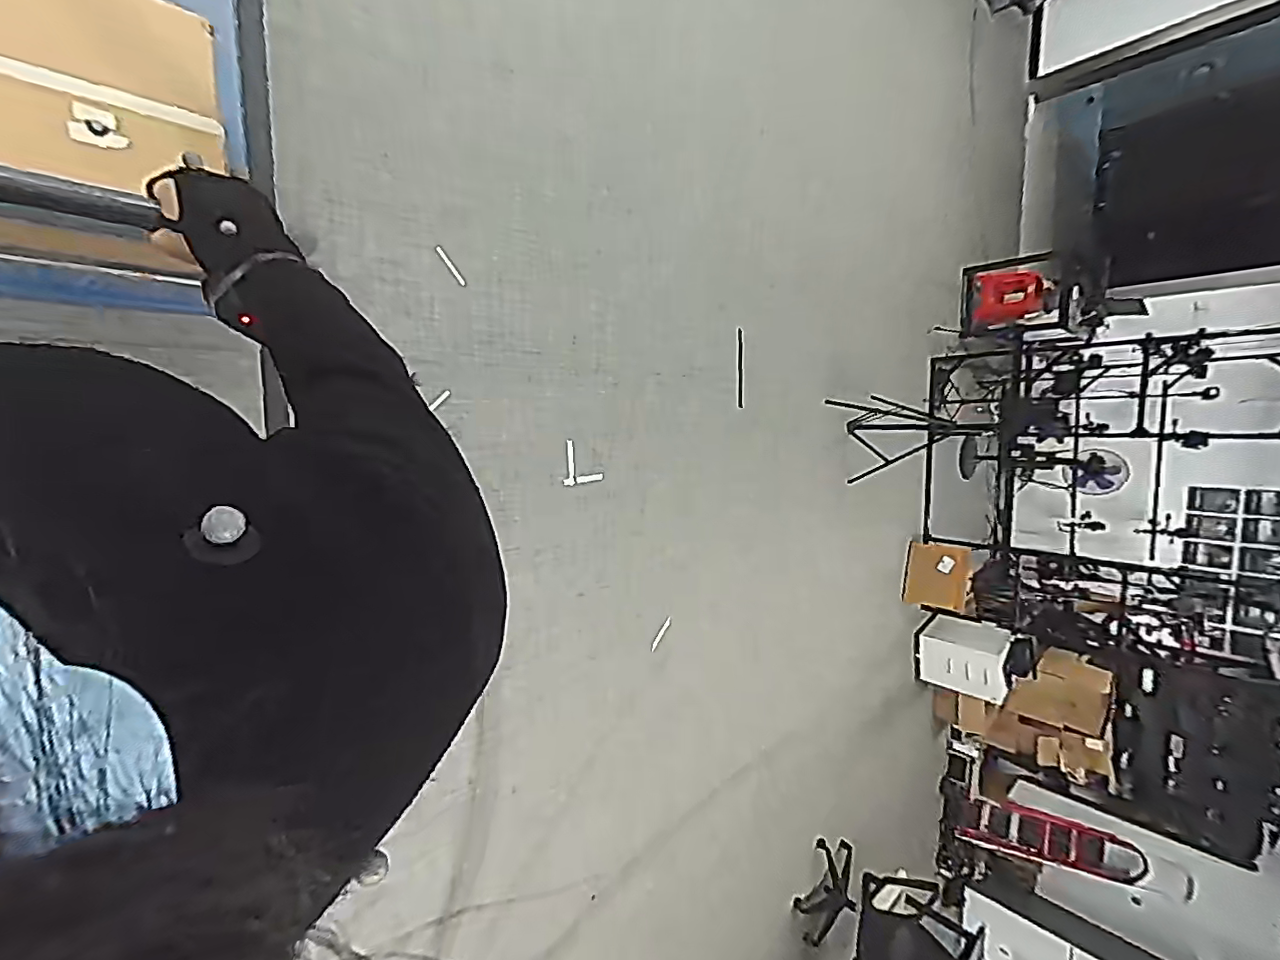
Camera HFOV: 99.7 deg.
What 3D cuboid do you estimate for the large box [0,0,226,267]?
[{"bbox_3d":[-0.893,-0.532,0.790,0.408,0.320,0.320,-7,100,-45],"label":"large box"}]
